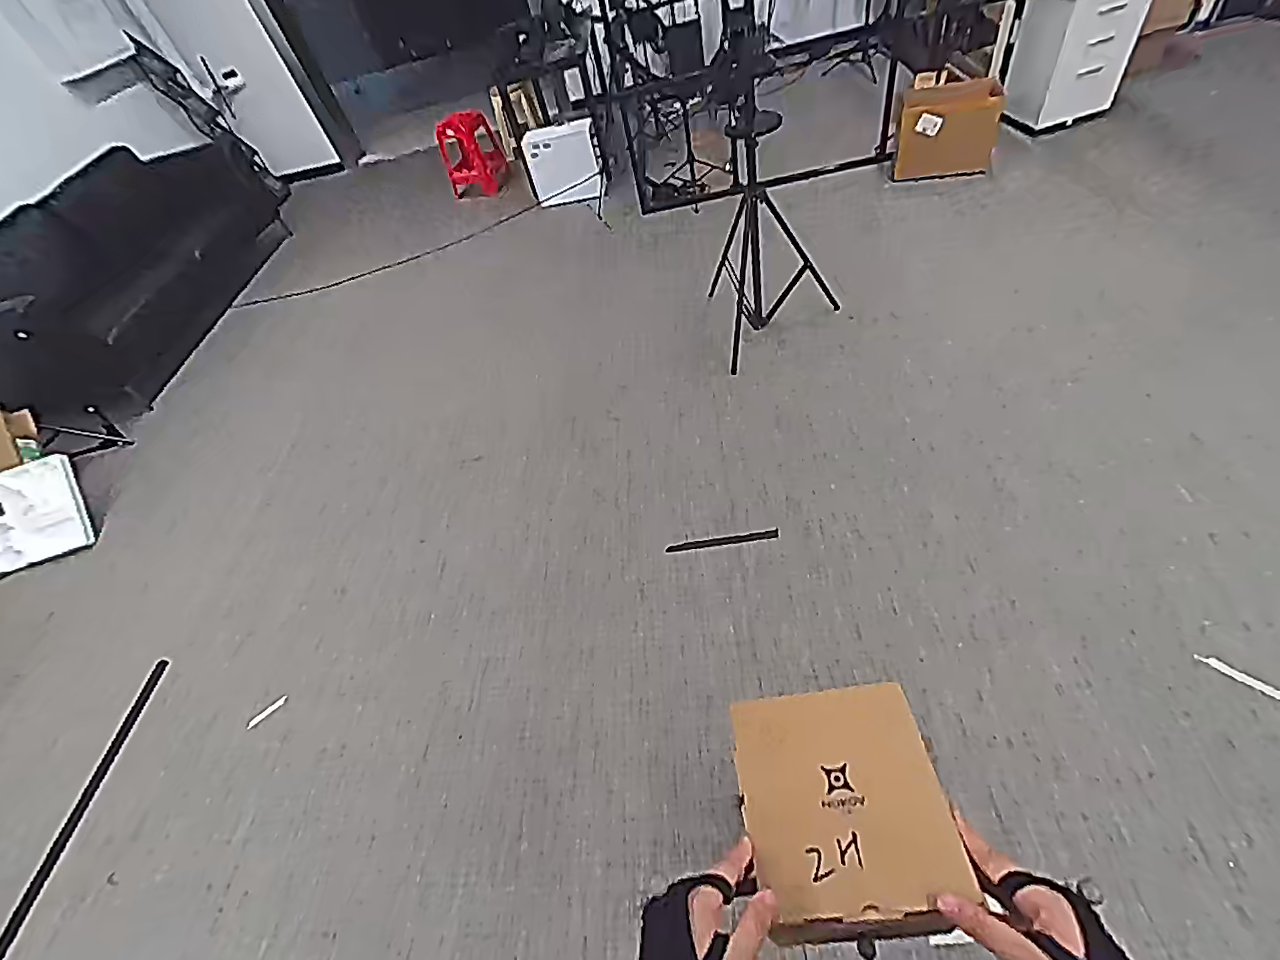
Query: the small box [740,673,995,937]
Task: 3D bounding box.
[{"bbox_3d":[0.195,0.312,0.519,0.168,0.176,0.179,-11,45,8],"label":"small box"}]
